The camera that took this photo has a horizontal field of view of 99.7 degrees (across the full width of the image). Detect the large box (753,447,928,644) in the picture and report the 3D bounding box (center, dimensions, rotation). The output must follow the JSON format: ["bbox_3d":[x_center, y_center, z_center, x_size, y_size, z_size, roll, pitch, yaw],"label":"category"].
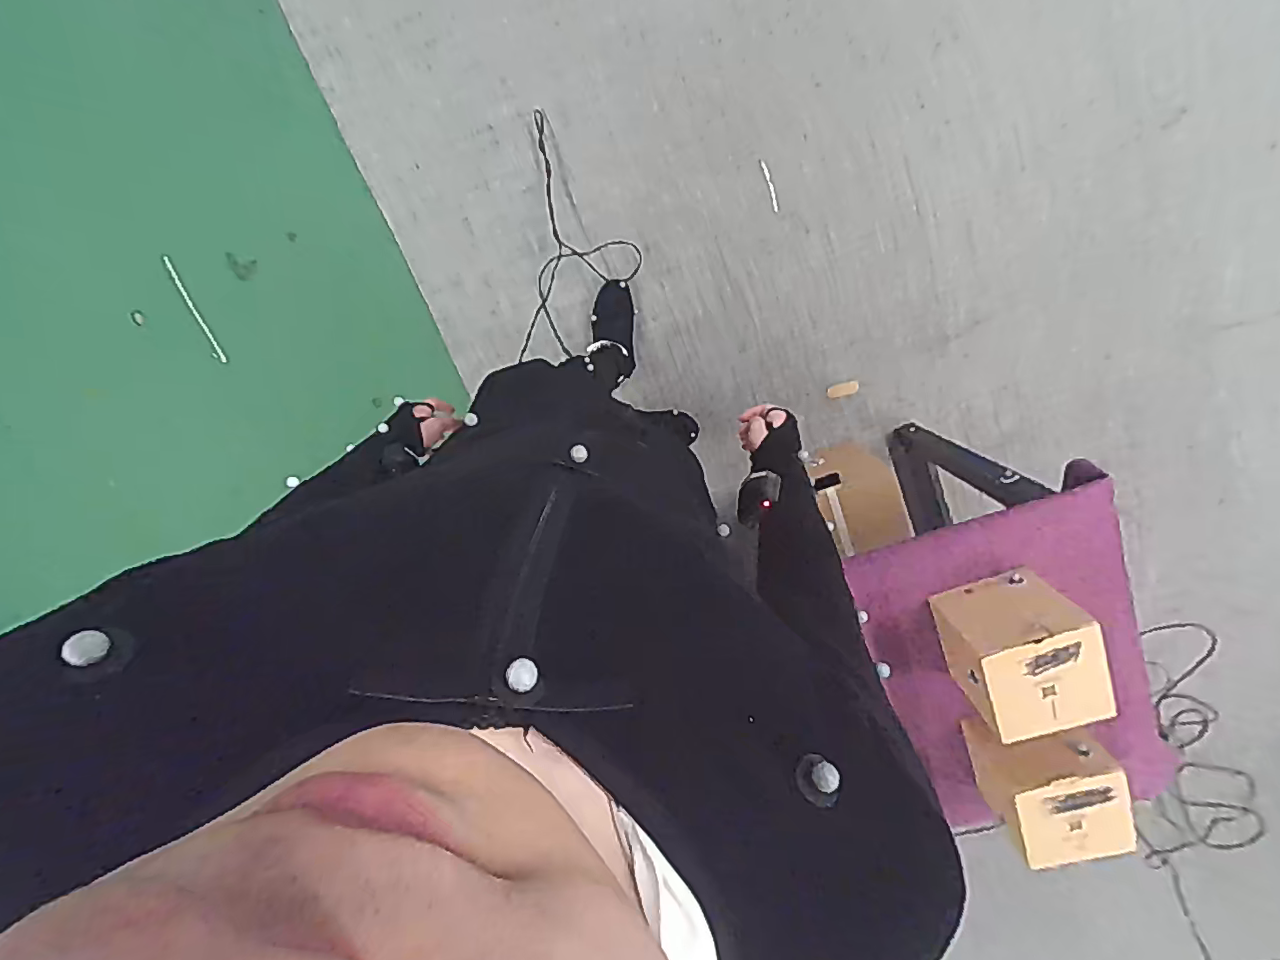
[{"bbox_3d":[0.544,0.172,1.522,0.320,0.320,0.408,-20,106,10],"label":"large box"}]

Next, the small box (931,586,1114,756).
[{"bbox_3d":[0.593,0.290,0.859,0.168,0.176,0.179,-21,107,10],"label":"small box"}]
